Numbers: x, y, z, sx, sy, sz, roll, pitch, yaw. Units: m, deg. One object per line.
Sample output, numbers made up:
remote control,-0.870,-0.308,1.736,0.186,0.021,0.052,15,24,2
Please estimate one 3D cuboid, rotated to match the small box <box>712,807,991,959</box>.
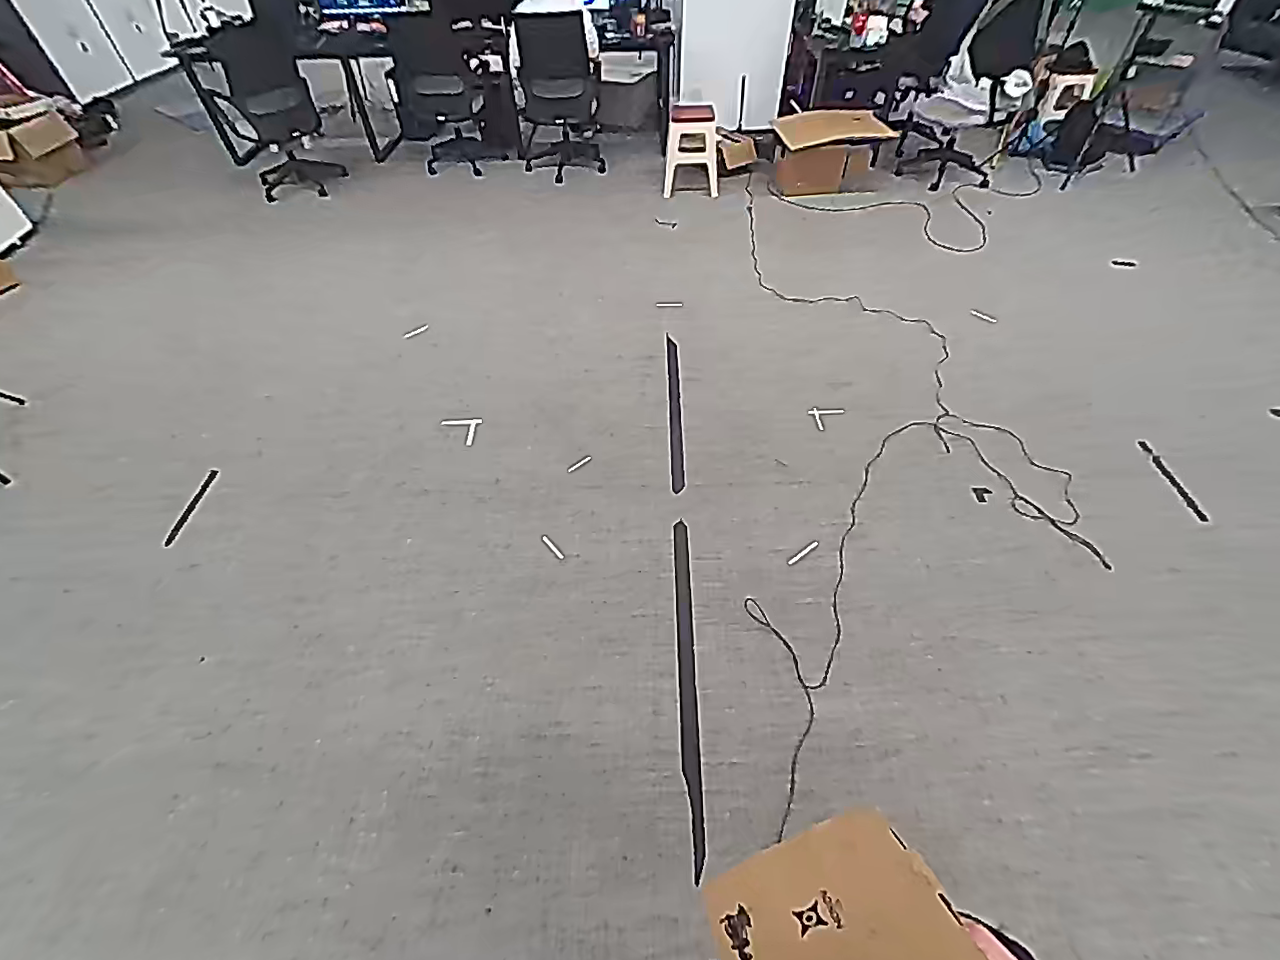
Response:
small box,0.180,0.420,0.434,0.179,0.168,0.176,-23,91,-2
